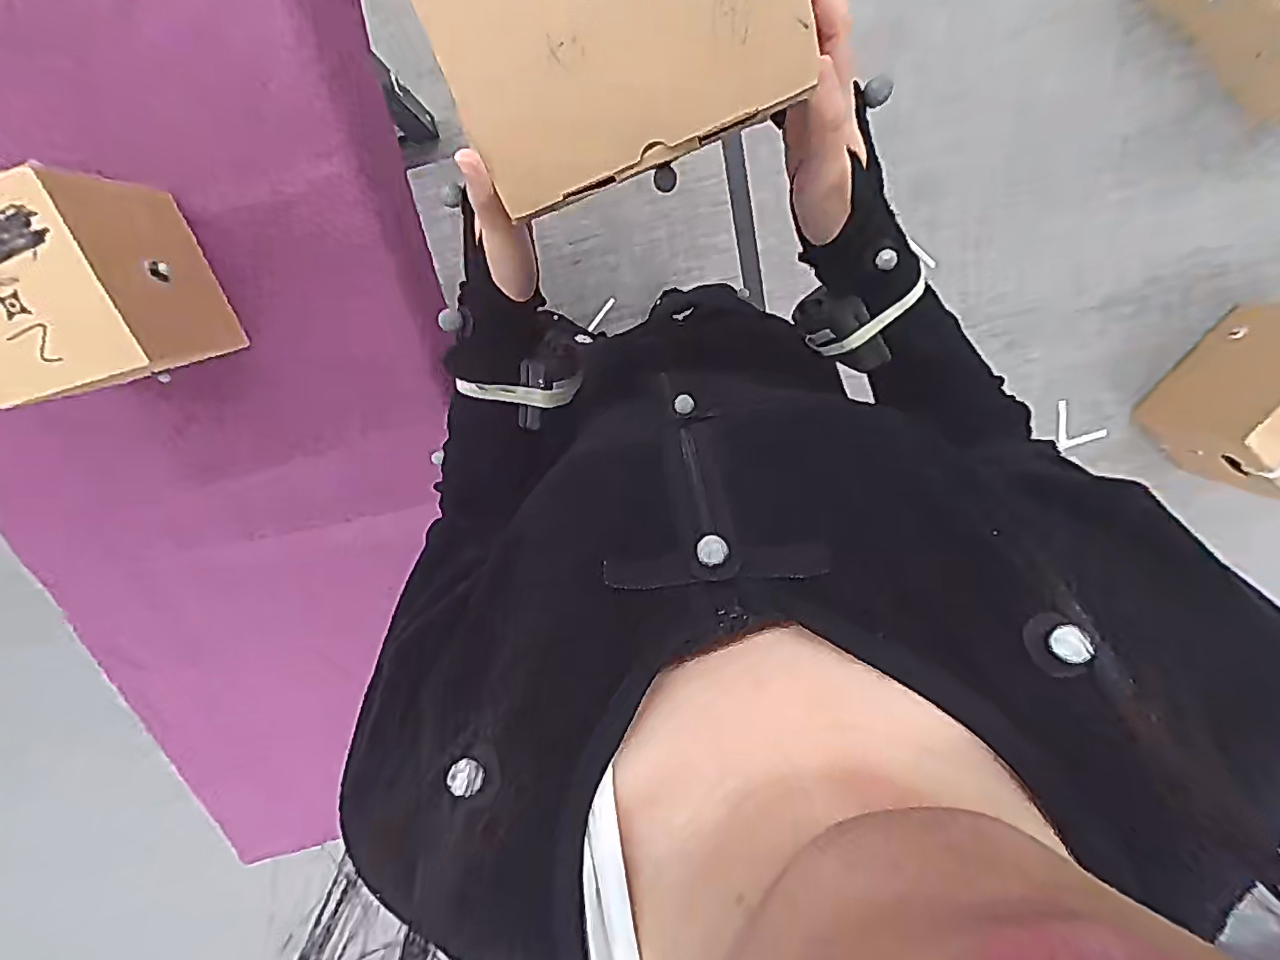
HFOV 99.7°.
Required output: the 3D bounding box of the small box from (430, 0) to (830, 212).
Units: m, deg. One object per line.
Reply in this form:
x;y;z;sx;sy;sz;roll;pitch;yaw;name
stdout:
-0.012;-0.273;0.294;0.168;0.176;0.179;-17;118;12;small box
